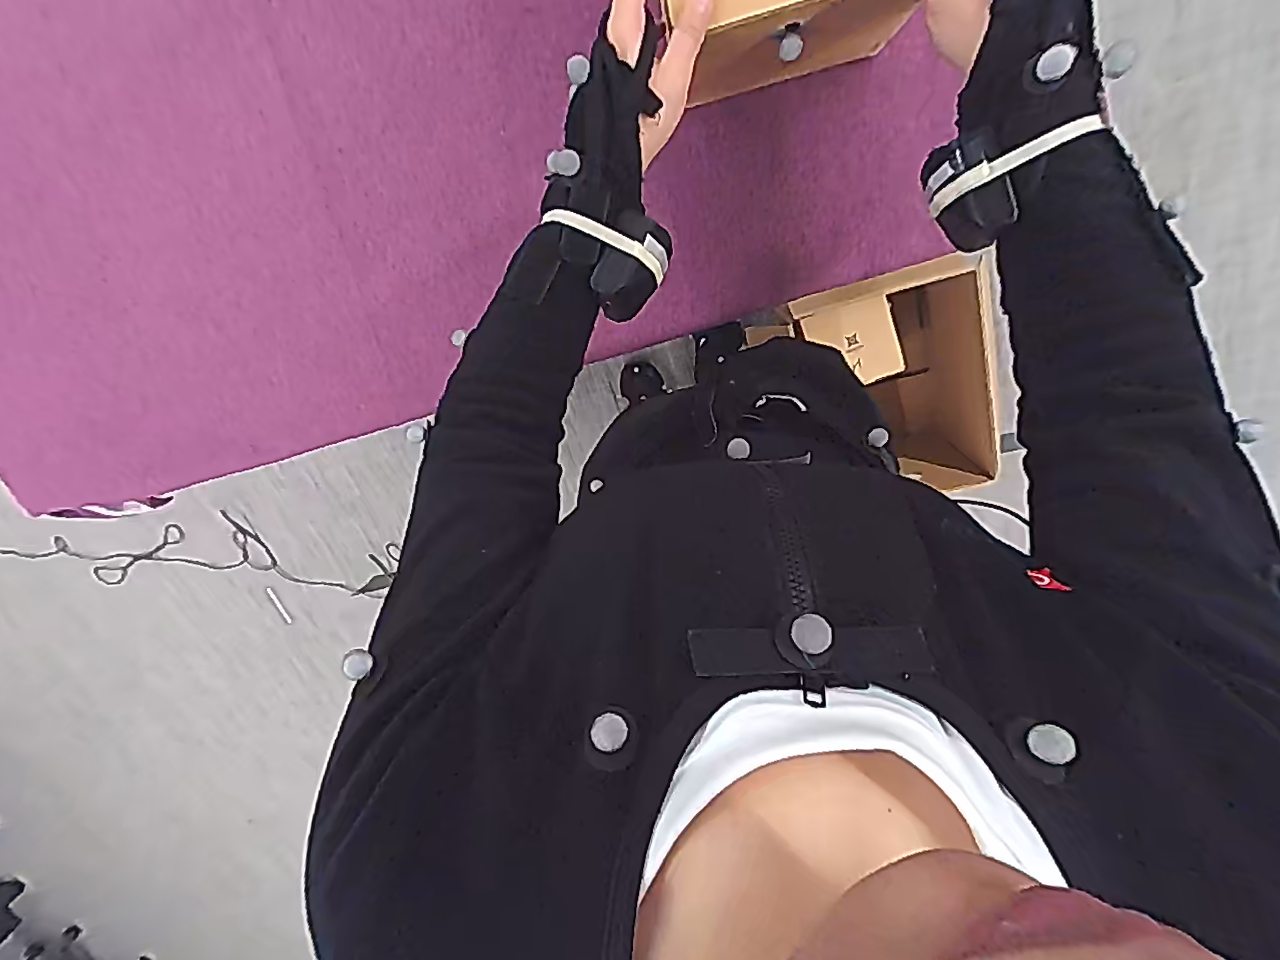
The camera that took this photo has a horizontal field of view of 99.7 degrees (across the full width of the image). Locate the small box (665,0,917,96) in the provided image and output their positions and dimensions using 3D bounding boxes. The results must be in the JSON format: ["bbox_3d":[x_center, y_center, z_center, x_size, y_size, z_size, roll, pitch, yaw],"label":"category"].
[{"bbox_3d":[0.098,-0.397,0.370,0.179,0.176,0.168,-9,112,11],"label":"small box"}]
